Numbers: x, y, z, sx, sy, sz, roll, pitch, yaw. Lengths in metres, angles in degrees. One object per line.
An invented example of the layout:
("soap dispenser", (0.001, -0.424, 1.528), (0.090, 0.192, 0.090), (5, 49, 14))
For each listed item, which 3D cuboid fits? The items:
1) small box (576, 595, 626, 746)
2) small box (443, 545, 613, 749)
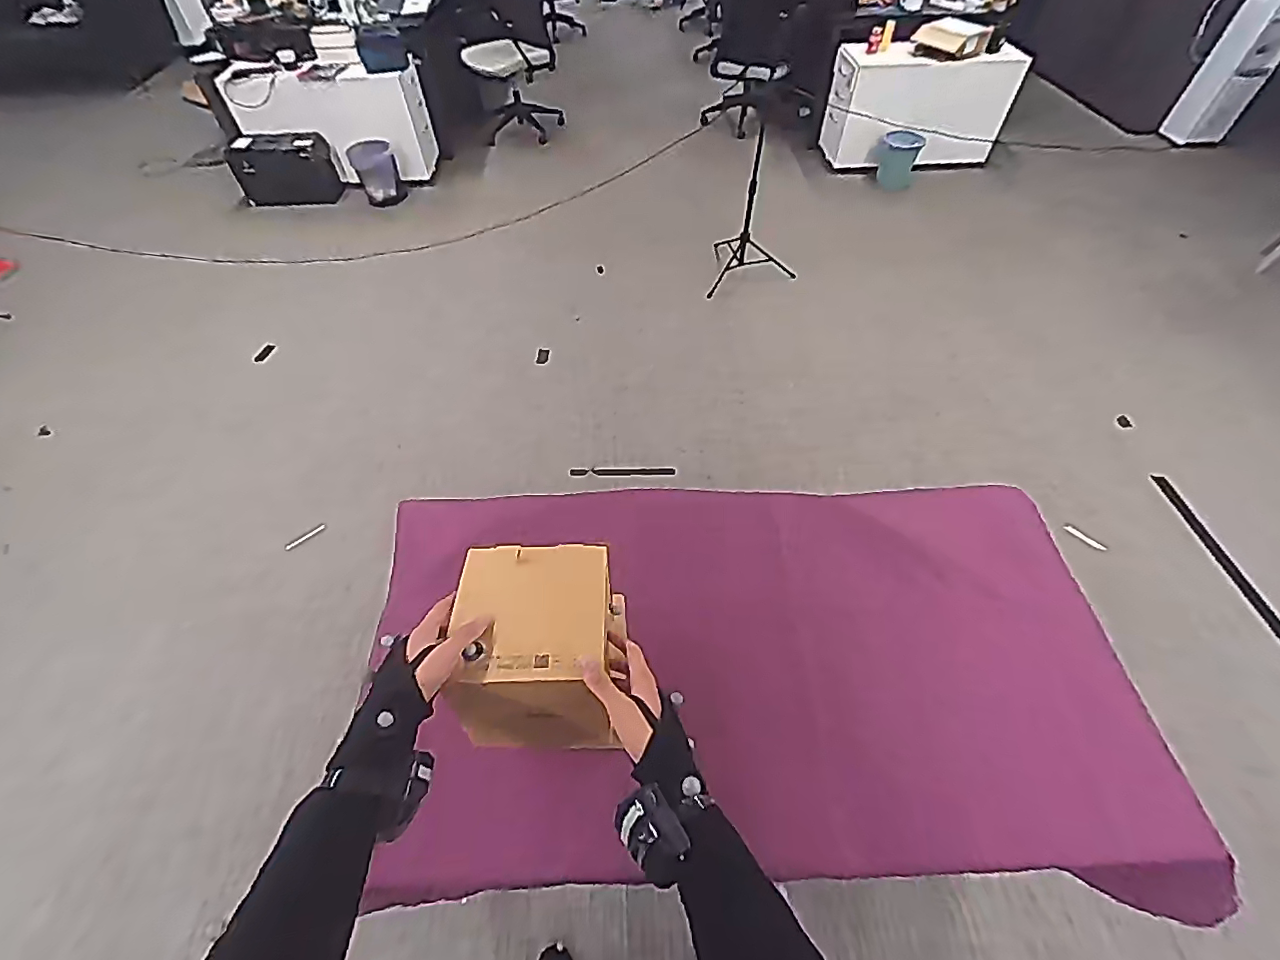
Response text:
("small box", (-0.106, 0.284, 0.797), (0.168, 0.176, 0.179), (1, 52, 0))
("small box", (-0.117, 0.197, 0.636), (0.168, 0.179, 0.176), (-1, 44, 0))
